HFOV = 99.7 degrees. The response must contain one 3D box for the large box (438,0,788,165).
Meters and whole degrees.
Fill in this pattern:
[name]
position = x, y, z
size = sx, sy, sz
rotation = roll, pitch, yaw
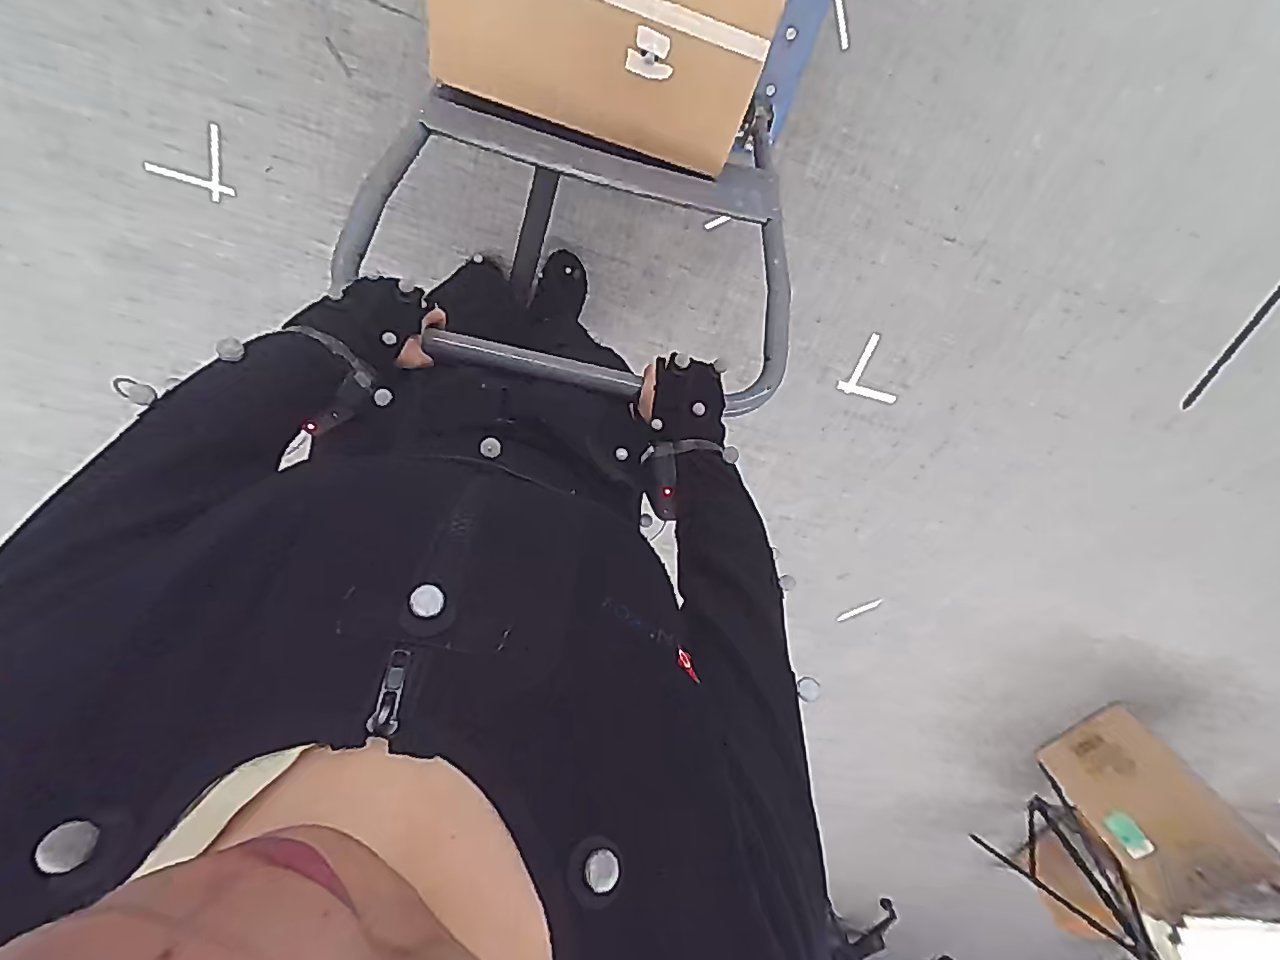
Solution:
[large box]
position = -0.023, -0.690, 0.708
size = 0.408, 0.320, 0.320
rotation = 12, 142, -11
